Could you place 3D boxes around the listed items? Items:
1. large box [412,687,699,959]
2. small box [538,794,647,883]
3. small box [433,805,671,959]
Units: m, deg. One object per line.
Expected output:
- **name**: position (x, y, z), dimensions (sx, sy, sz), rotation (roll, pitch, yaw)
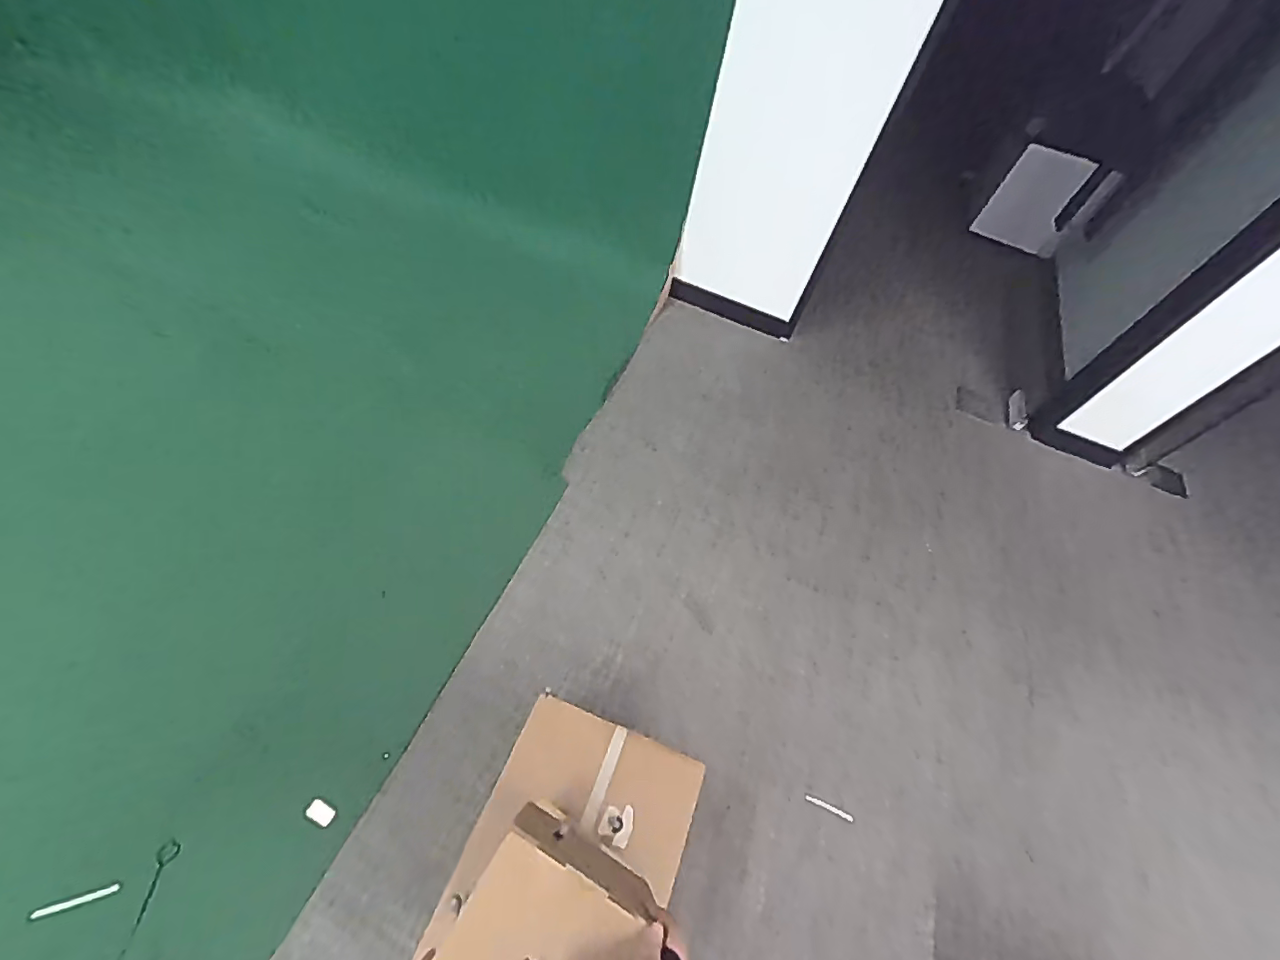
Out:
- **large box**: position (-0.125, 0.649, 0.947), dimensions (0.320, 0.320, 0.408), rotation (22, 55, 5)
- **small box**: position (-0.115, 0.553, 0.717), dimensions (0.168, 0.176, 0.179), rotation (31, 58, 12)
- **small box**: position (-0.092, 0.444, 0.513), dimensions (0.168, 0.176, 0.179), rotation (30, 68, 8)
